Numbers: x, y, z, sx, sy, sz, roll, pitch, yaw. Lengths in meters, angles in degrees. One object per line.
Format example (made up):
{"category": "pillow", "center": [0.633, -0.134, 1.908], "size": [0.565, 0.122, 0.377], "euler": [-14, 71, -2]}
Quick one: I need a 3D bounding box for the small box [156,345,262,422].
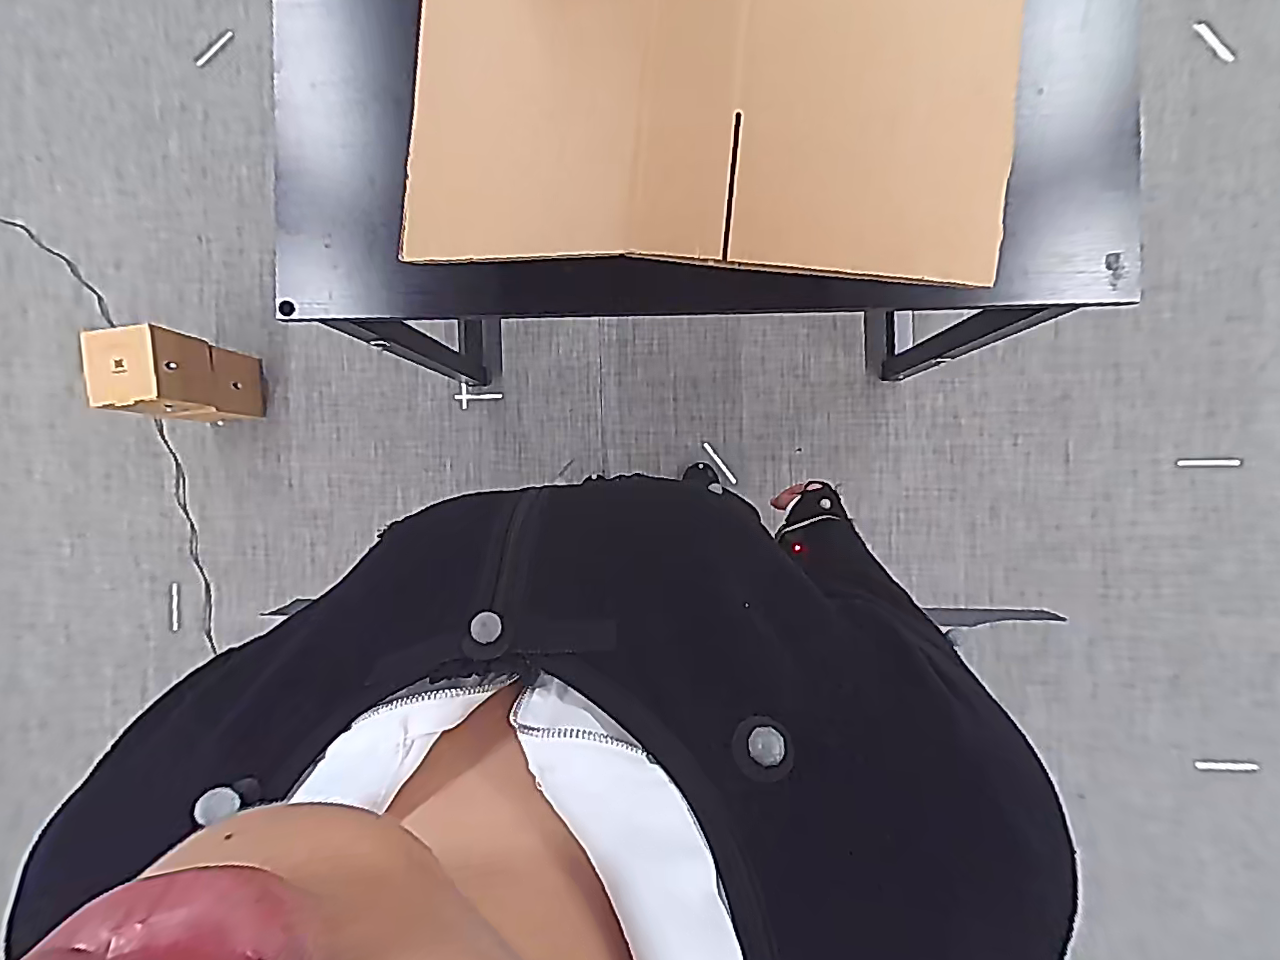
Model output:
{"category": "small box", "center": [-1.168, -0.256, 1.469], "size": [0.168, 0.176, 0.179], "euler": [-4, 91, 3]}

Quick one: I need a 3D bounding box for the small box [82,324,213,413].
{"category": "small box", "center": [-1.178, -0.261, 1.307], "size": [0.168, 0.176, 0.179], "euler": [-7, 89, 2]}
